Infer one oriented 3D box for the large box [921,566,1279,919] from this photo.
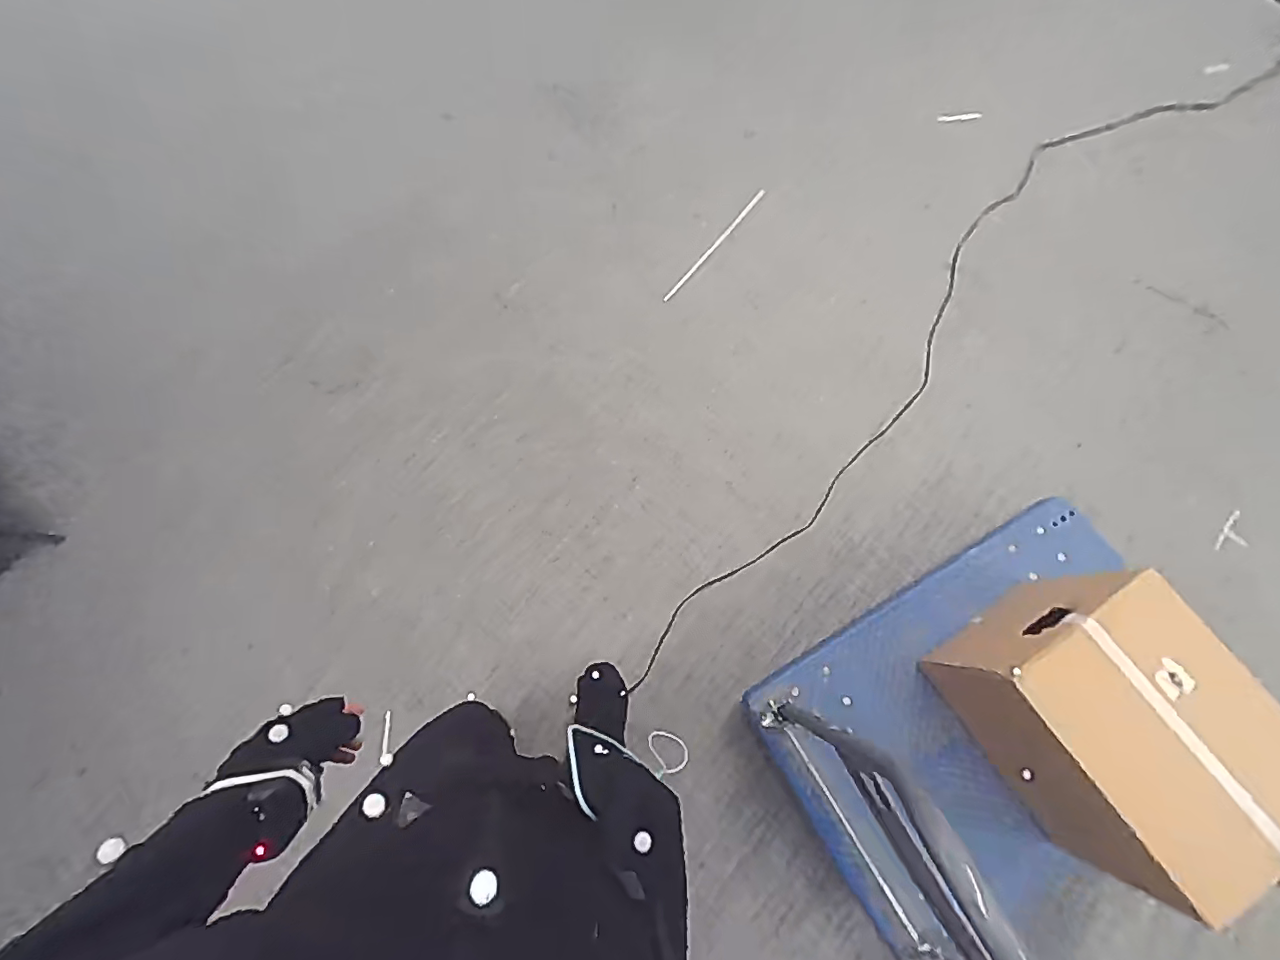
[{"bbox_3d":[0.809,0.414,0.955,0.320,0.320,0.408,-34,77,-8],"label":"large box"}]
